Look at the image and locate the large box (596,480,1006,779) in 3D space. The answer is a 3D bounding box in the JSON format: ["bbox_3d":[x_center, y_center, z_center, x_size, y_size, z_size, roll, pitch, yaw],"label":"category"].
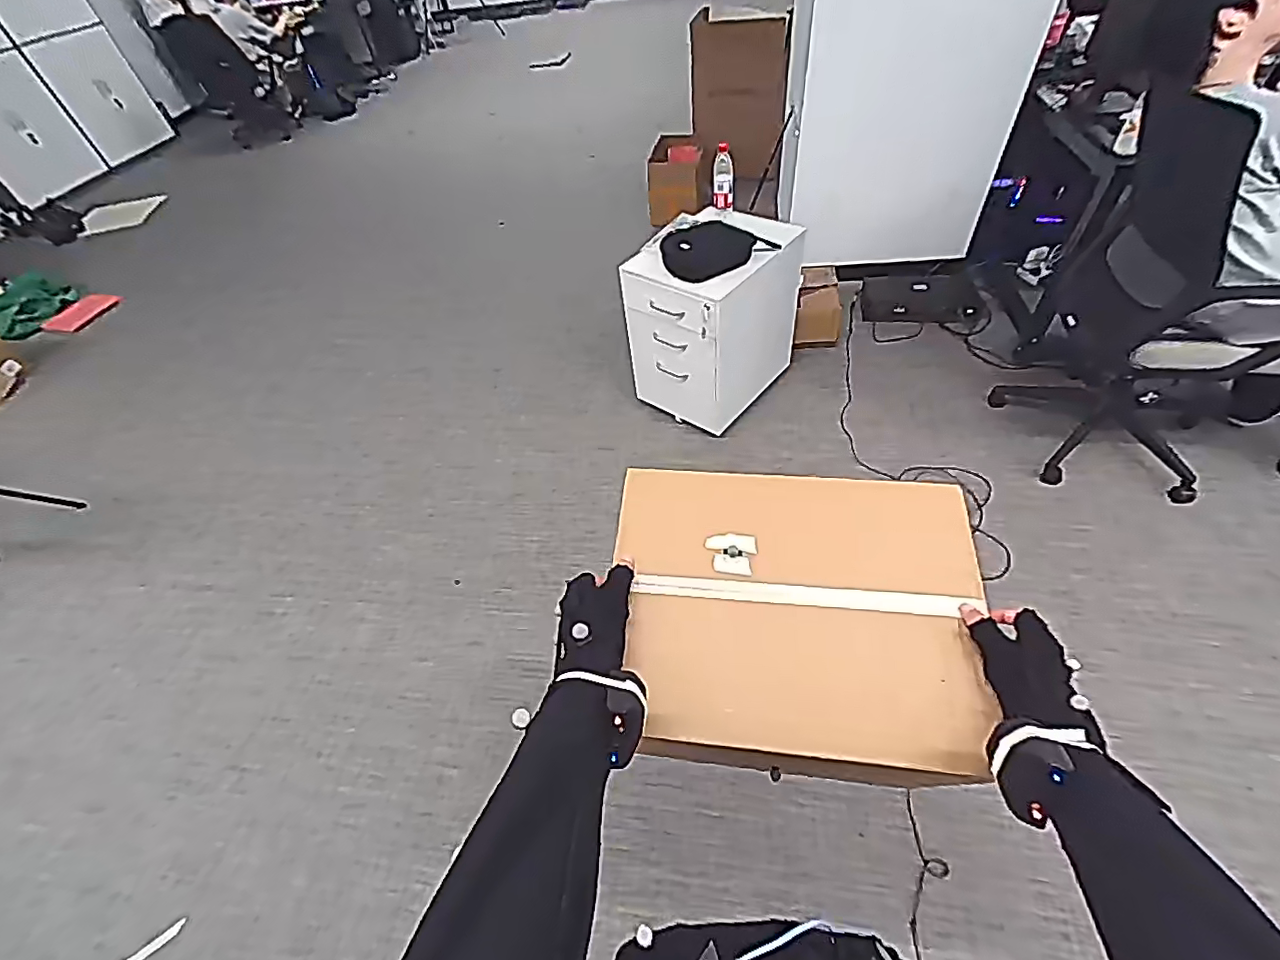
[{"bbox_3d":[0.181,0.212,0.735,0.408,0.320,0.320,2,59,9],"label":"large box"}]
